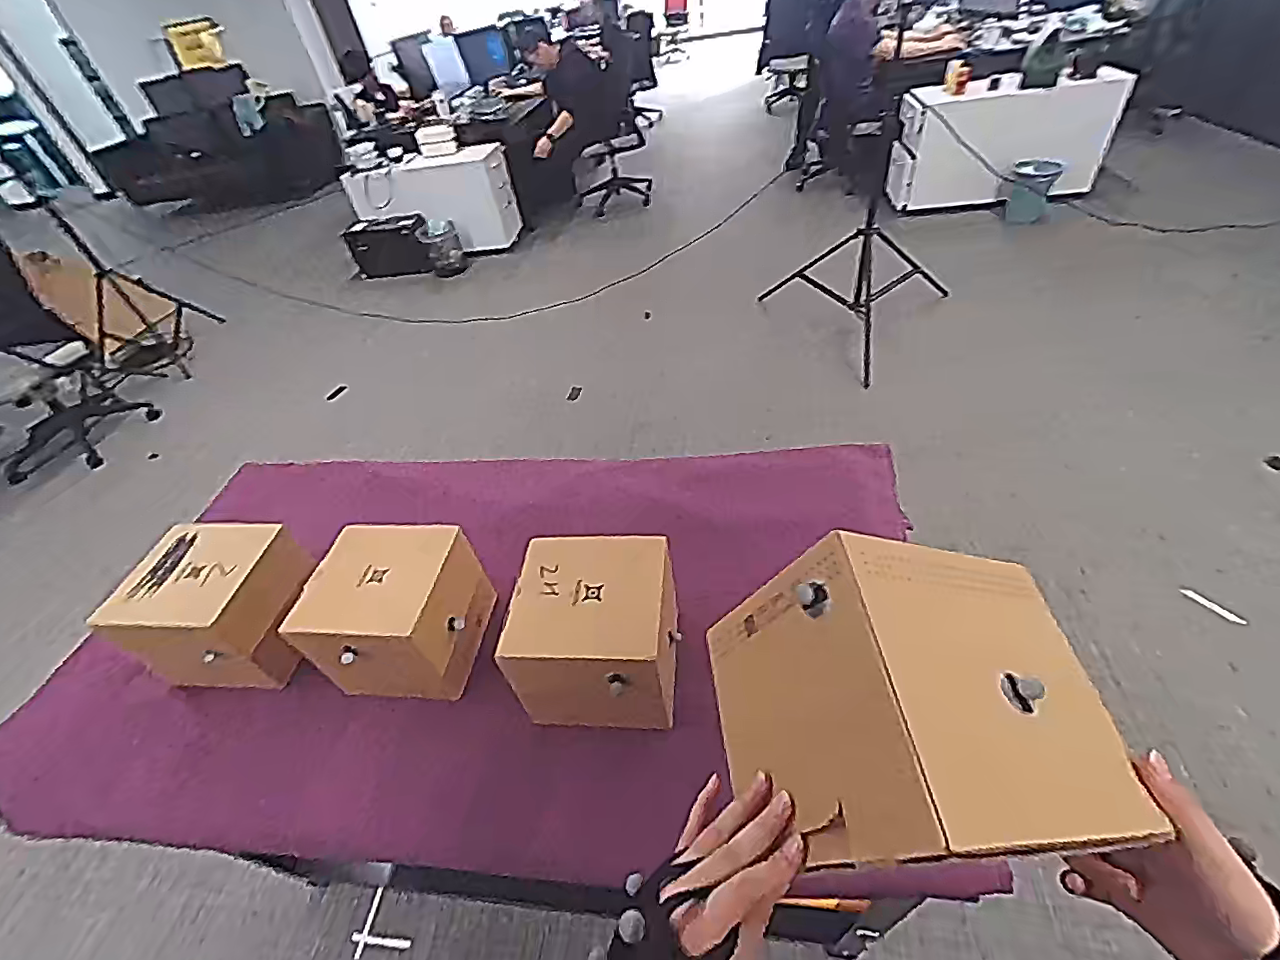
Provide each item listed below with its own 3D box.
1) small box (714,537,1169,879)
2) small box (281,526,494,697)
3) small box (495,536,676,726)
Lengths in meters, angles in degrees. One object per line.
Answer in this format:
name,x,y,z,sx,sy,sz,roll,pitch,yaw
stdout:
small box,0.168,0.154,0.364,0.179,0.168,0.176,10,51,-21
small box,-0.320,0.178,0.733,0.179,0.176,0.168,-1,44,11
small box,-0.050,0.186,0.665,0.179,0.176,0.168,-2,43,10
